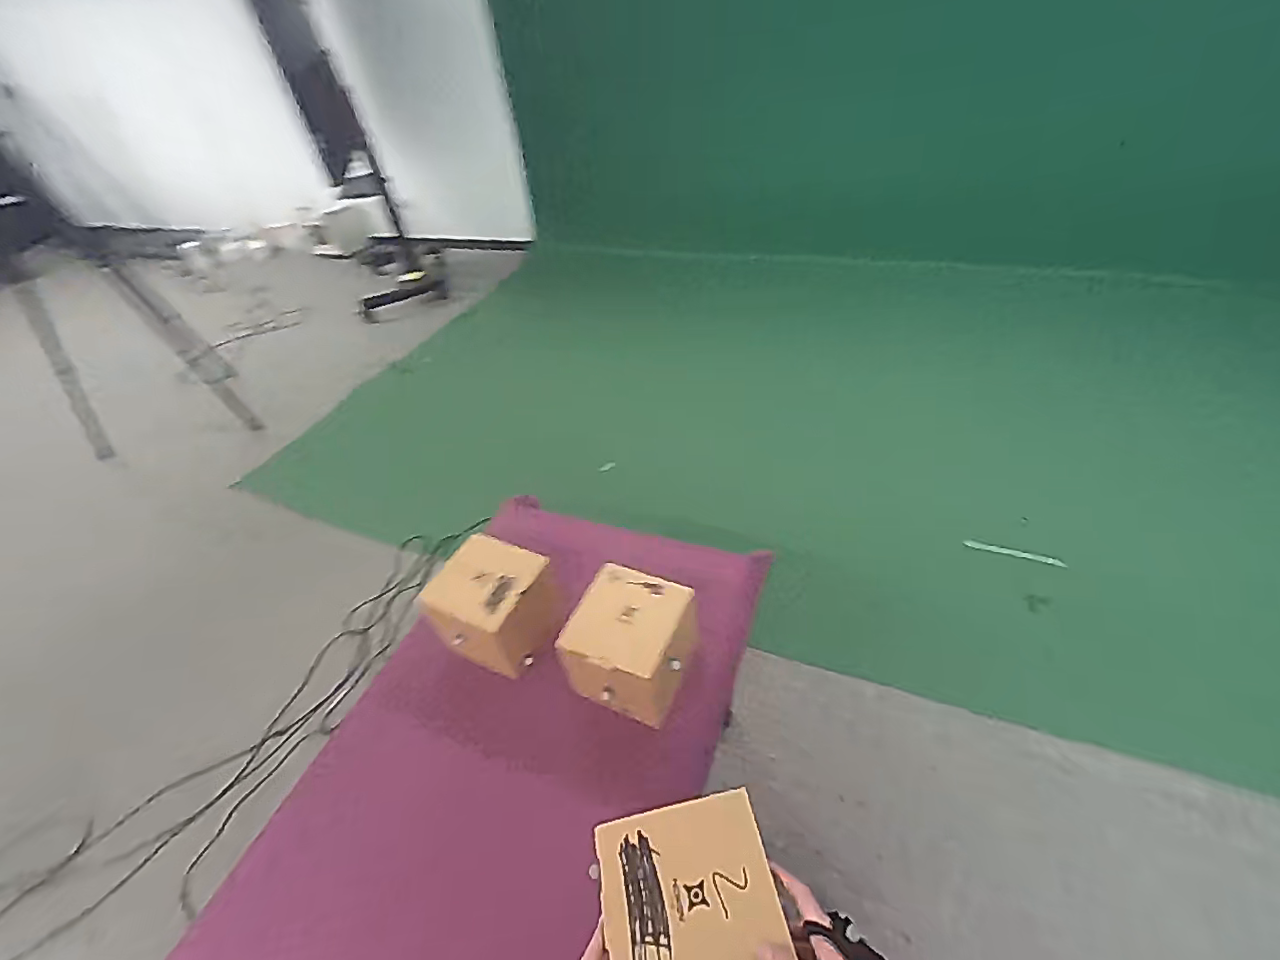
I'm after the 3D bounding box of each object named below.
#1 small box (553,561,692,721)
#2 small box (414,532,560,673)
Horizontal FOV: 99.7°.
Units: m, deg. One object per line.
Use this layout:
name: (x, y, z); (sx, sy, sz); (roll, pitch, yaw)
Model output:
small box: (-0.017, 0.273, 0.914); (0.168, 0.176, 0.179); (14, 48, 23)
small box: (-0.270, 0.229, 1.000); (0.179, 0.176, 0.168); (15, 48, 23)
